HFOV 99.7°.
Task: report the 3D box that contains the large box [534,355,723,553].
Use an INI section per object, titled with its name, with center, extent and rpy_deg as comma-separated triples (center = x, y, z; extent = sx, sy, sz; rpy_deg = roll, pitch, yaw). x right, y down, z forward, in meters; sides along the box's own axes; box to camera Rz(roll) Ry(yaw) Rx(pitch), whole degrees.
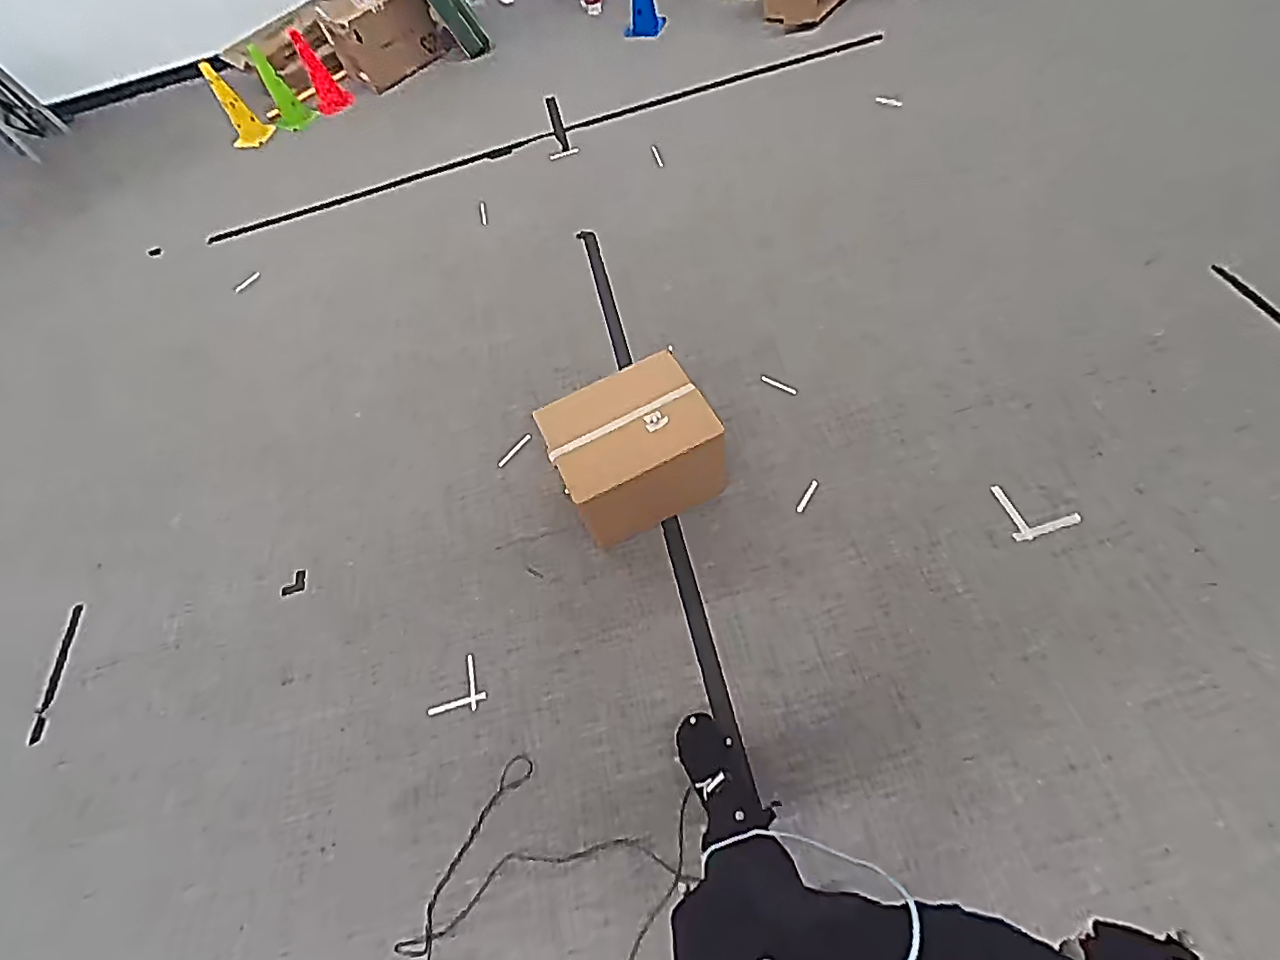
[large box]
center = -0.019, -0.062, 1.485
extent = 0.408, 0.320, 0.320
rpy_deg = -26, 61, -6
